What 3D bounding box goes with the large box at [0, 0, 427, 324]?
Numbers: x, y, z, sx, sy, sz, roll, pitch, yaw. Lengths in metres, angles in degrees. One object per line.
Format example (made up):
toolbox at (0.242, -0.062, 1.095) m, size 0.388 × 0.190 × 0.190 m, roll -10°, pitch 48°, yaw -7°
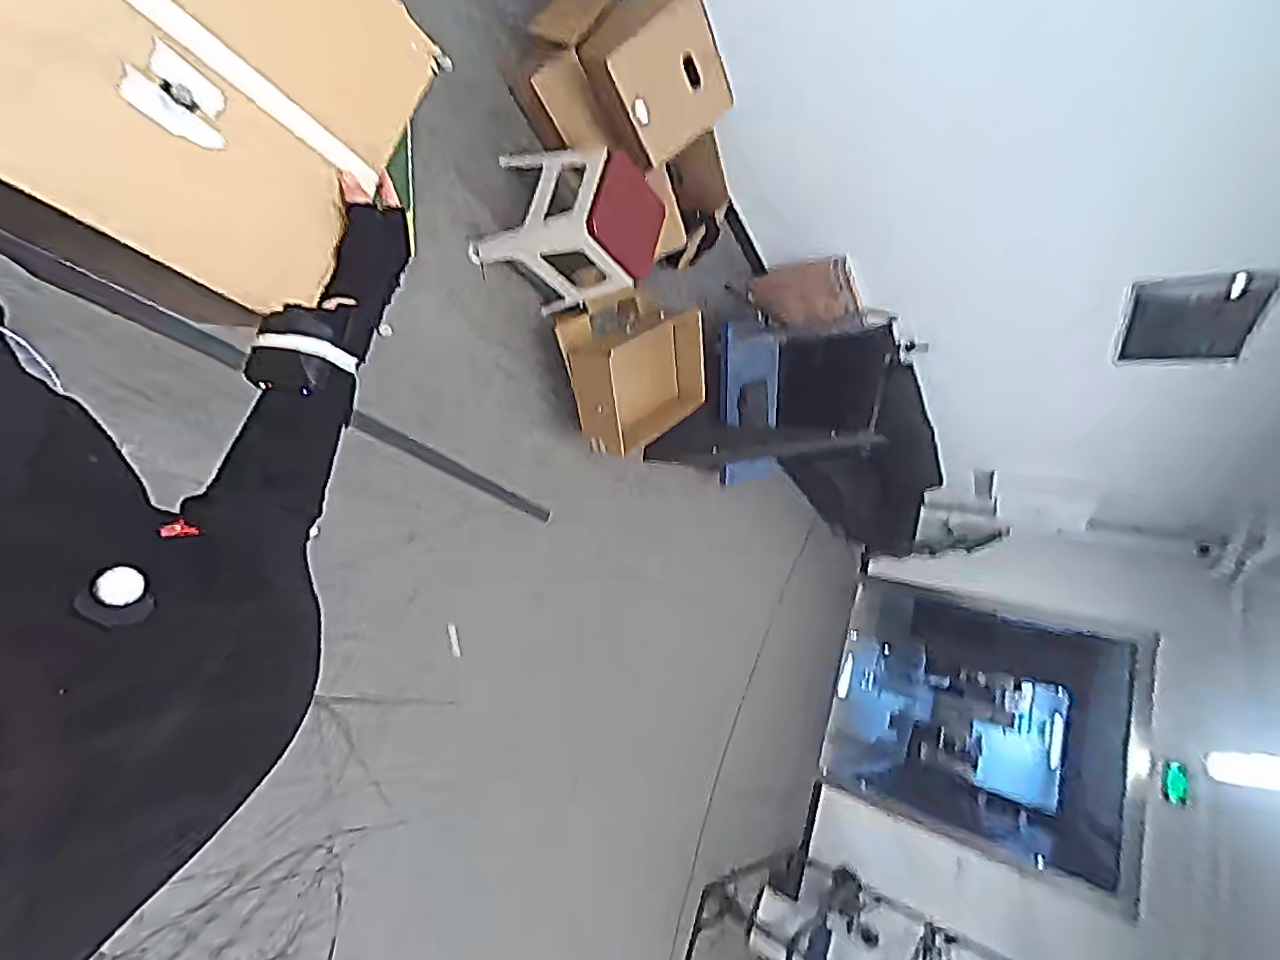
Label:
large box at (-0.481, -0.373, 0.444) m, size 0.408 × 0.320 × 0.320 m, roll 32°, pitch 77°, yaw -53°
